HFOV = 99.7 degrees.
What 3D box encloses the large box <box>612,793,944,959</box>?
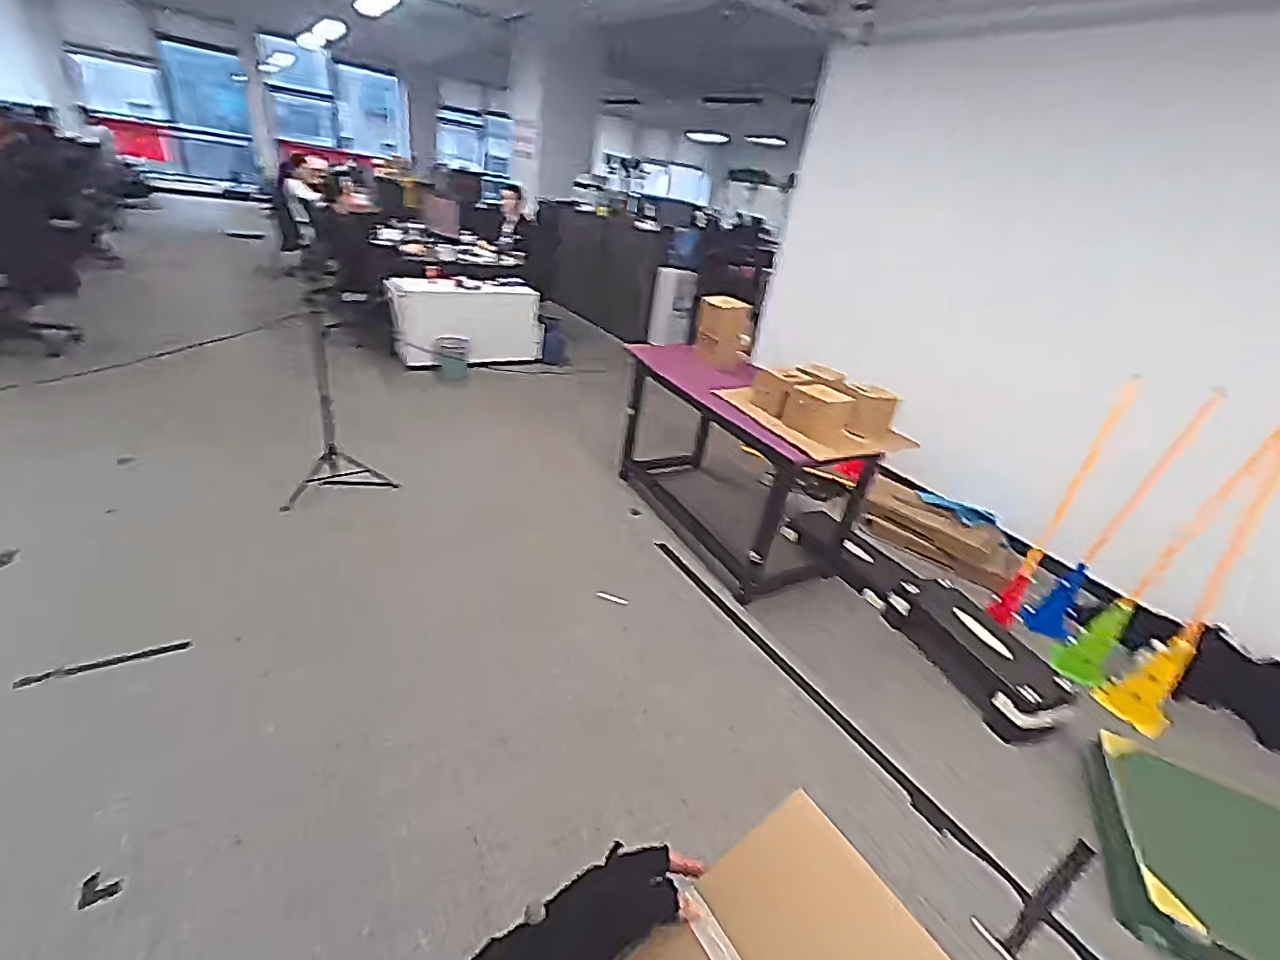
[{"bbox_3d":[0.146,0.595,0.471,0.320,0.320,0.408,-23,47,-29],"label":"large box"}]
